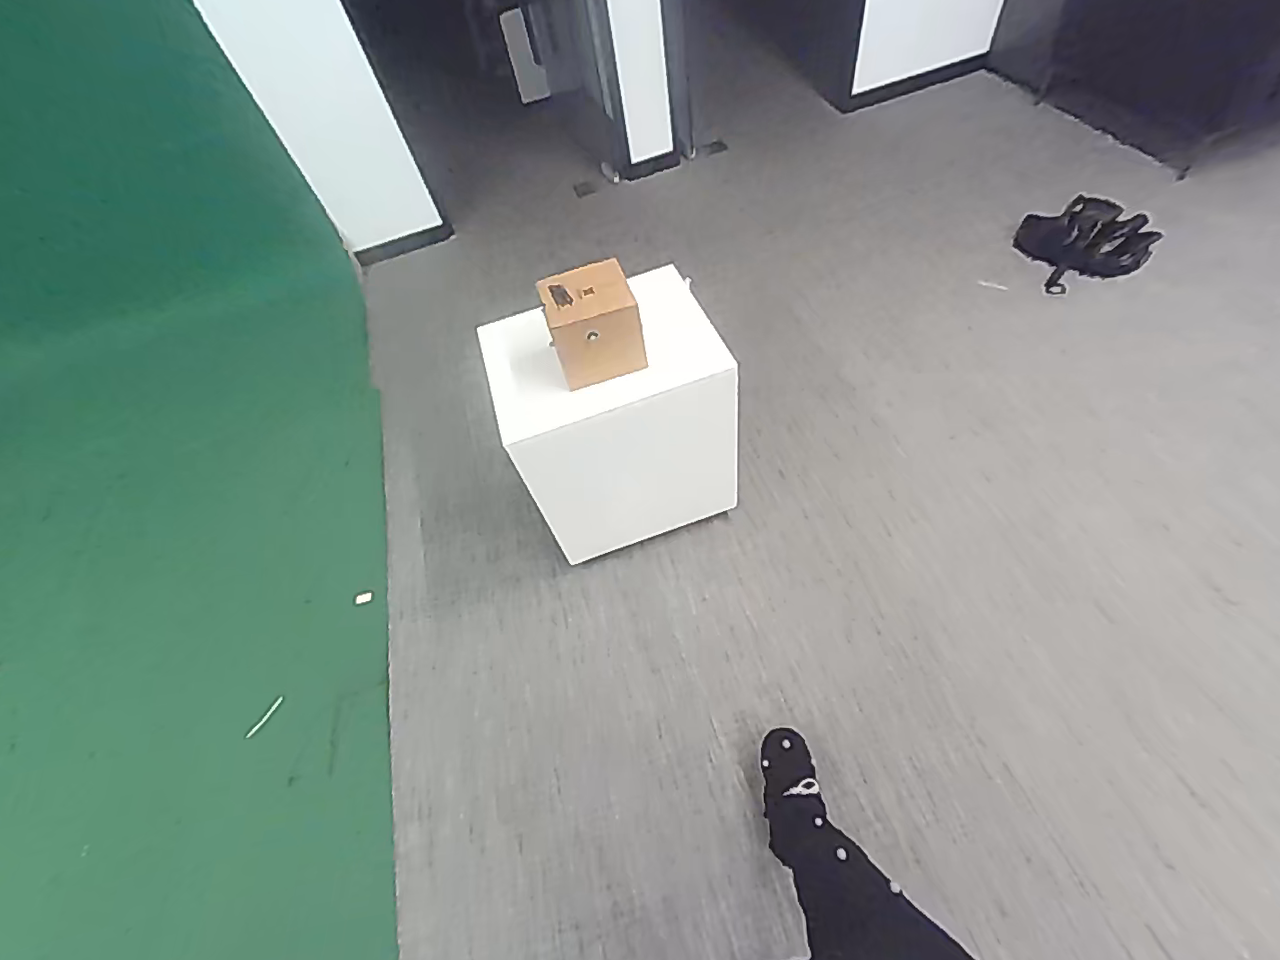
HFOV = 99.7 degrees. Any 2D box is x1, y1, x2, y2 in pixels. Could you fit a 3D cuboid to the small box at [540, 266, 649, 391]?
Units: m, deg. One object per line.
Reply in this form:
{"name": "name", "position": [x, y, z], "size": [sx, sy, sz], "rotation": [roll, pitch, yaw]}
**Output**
{"name": "small box", "position": [-0.092, -0.311, 1.133], "size": [0.179, 0.176, 0.168], "rotation": [-17, 54, -3]}
